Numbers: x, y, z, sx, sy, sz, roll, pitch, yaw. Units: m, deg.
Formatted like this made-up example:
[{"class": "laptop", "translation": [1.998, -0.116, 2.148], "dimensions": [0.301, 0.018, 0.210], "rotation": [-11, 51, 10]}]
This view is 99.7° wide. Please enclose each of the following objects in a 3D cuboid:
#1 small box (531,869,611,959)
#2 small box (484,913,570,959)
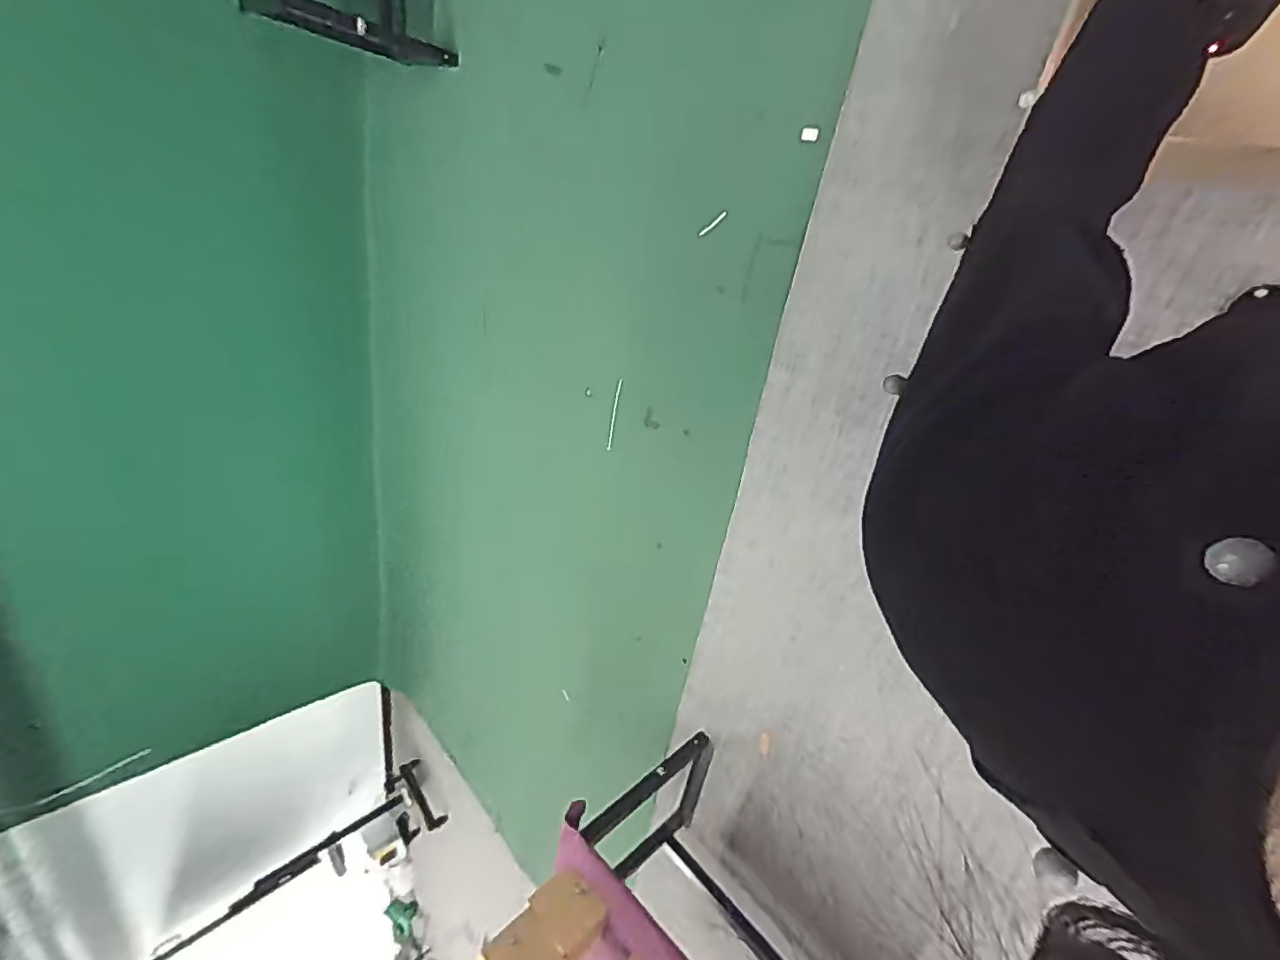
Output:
[{"class": "small box", "translation": [-0.211, 1.315, 1.615], "dimensions": [0.179, 0.176, 0.168], "rotation": [27, 119, 38]}, {"class": "small box", "translation": [-0.318, 1.356, 1.498], "dimensions": [0.179, 0.176, 0.168], "rotation": [32, 122, 35]}]
